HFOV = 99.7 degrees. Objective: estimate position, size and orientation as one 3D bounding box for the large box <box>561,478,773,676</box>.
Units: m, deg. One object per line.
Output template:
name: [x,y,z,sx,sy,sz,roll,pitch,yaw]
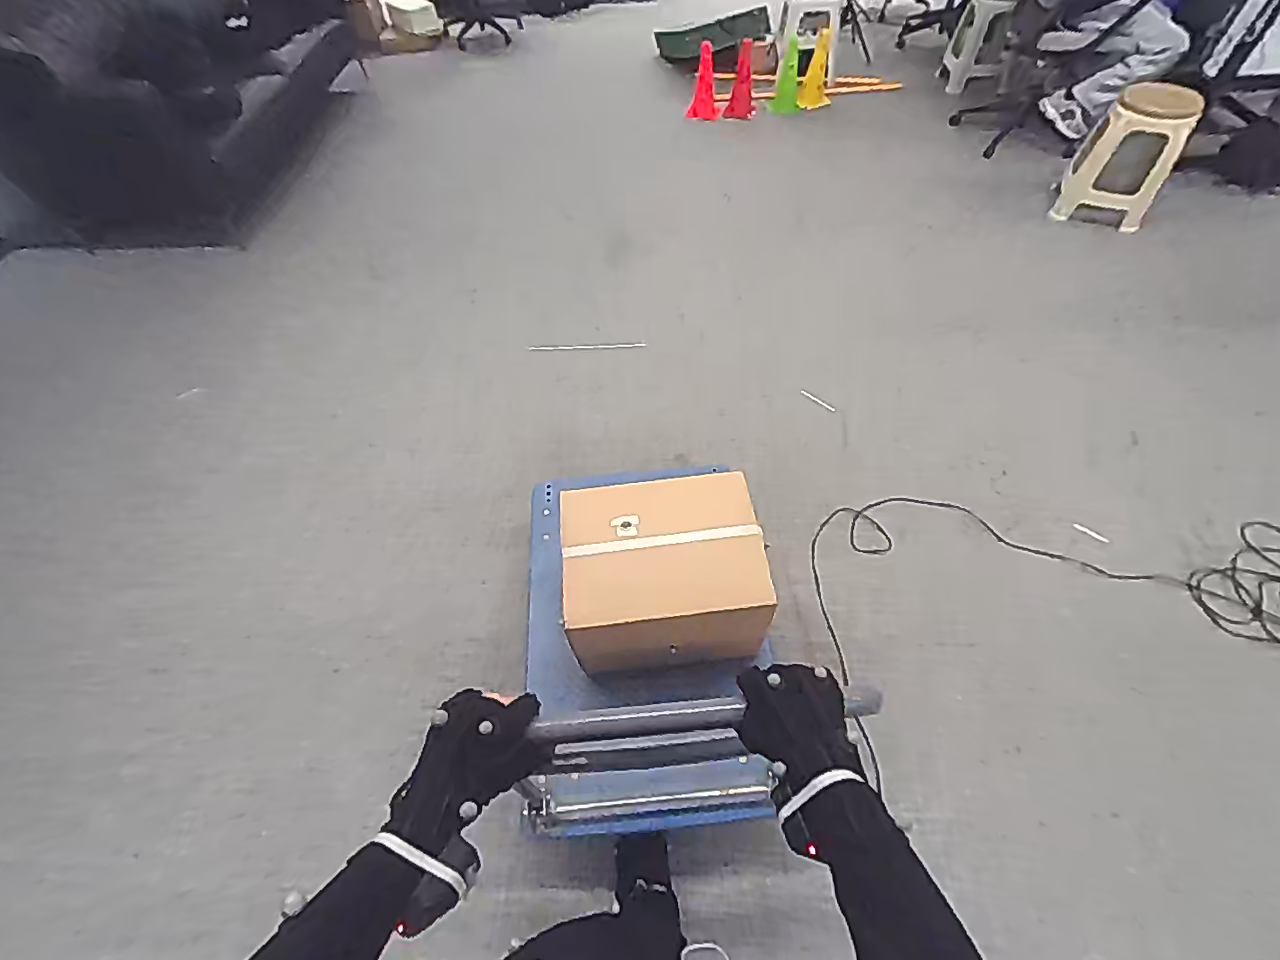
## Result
large box: [0.051,0.228,1.225,0.408,0.320,0.320,-7,54,0]
